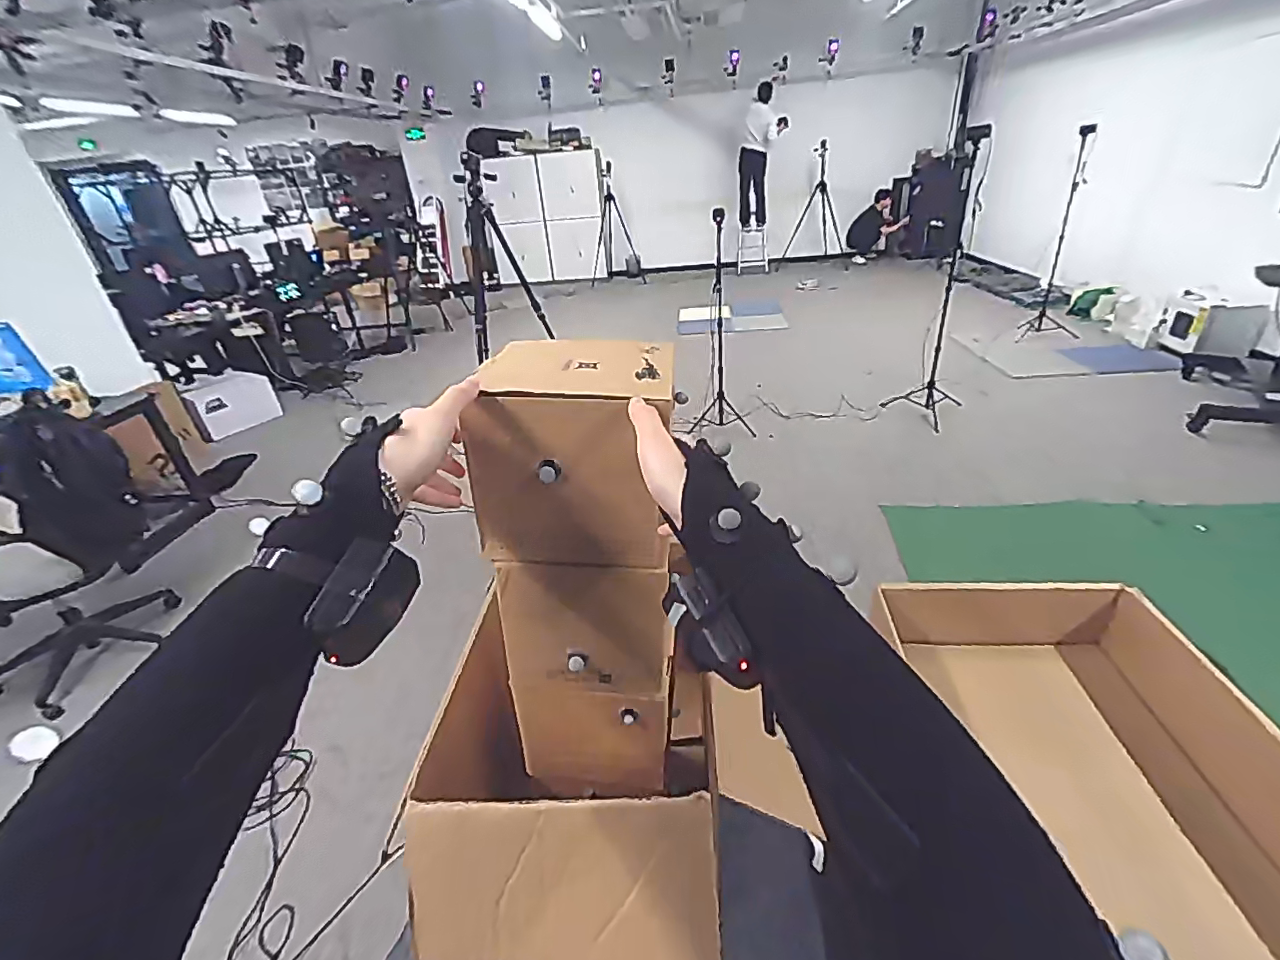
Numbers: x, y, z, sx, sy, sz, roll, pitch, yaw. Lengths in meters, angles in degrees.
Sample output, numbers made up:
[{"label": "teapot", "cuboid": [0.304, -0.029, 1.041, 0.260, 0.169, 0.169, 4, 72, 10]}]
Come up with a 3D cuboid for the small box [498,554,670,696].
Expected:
[{"label": "small box", "cuboid": [-0.050, 0.114, 0.615, 0.168, 0.176, 0.179, 2, 29, 3]}]

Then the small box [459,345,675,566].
[{"label": "small box", "cuboid": [-0.055, -0.029, 0.536, 0.179, 0.176, 0.168, 1, 29, 3]}]
